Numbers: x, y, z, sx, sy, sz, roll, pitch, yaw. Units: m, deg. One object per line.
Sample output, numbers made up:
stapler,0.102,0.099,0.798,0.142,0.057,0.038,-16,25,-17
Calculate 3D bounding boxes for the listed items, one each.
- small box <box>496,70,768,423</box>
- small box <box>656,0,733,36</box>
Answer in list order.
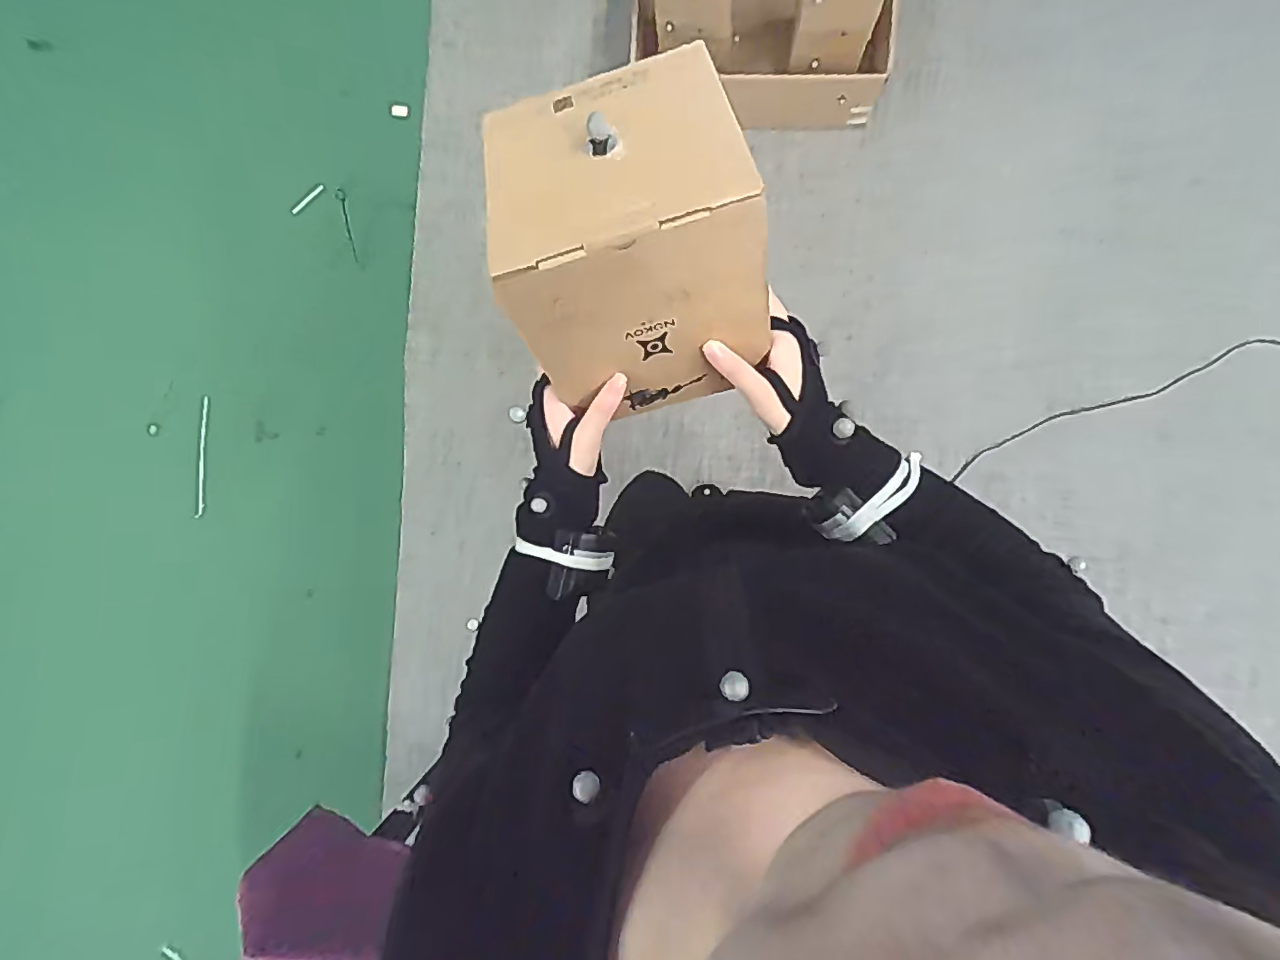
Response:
small box,-0.003,-0.175,0.420,0.168,0.179,0.176,-13,62,8
small box,0.127,-1.122,1.178,0.168,0.176,0.179,10,91,5
